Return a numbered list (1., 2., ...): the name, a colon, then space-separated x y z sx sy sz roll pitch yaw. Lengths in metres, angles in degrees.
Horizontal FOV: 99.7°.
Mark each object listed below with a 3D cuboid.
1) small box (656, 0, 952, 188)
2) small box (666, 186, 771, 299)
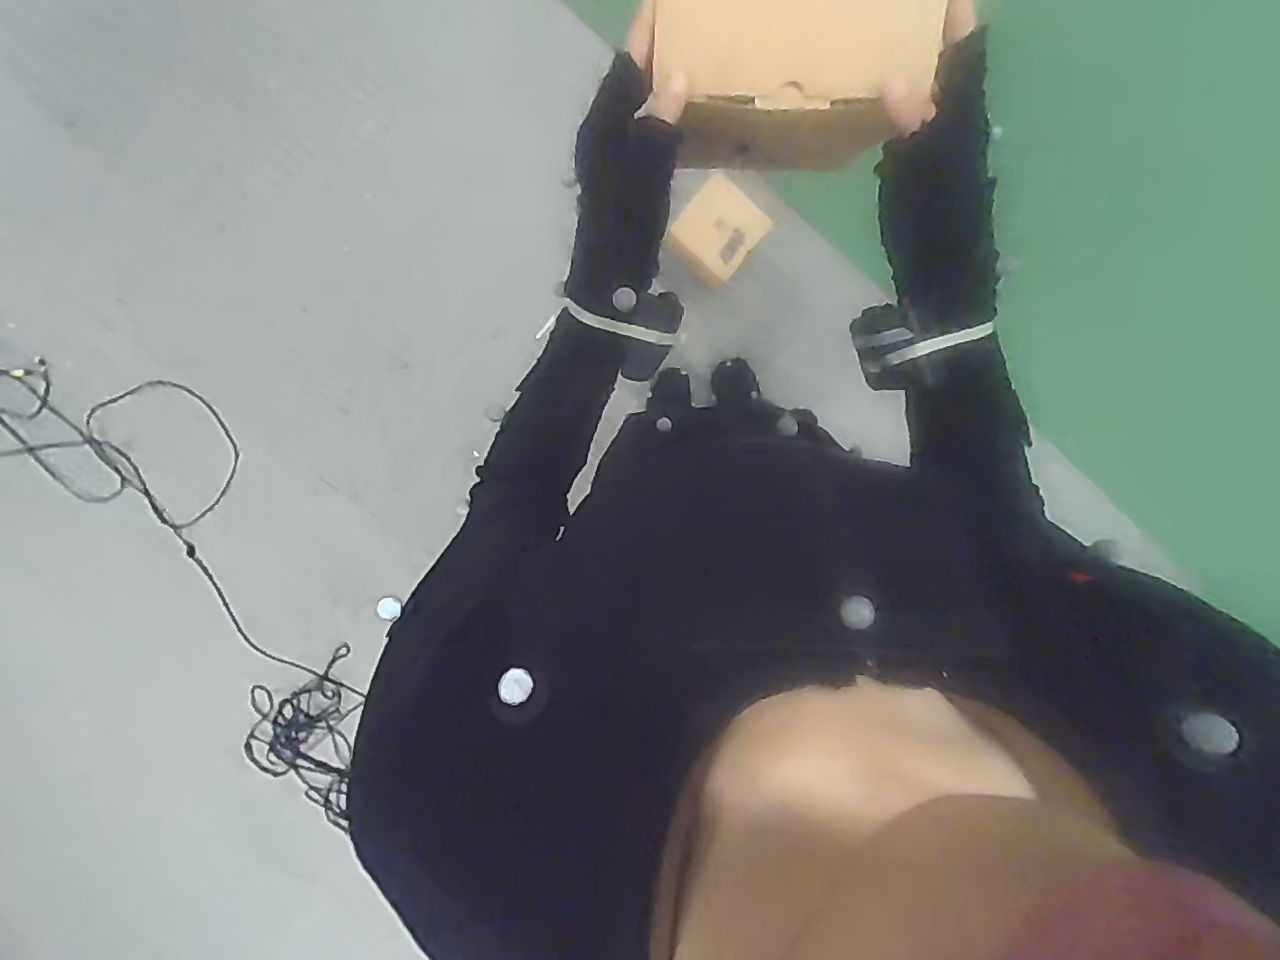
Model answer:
1. small box: 0.097 -0.322 0.377 0.168 0.176 0.179 2 107 1
2. small box: 0.179 -0.550 1.285 0.179 0.176 0.168 40 99 -6
